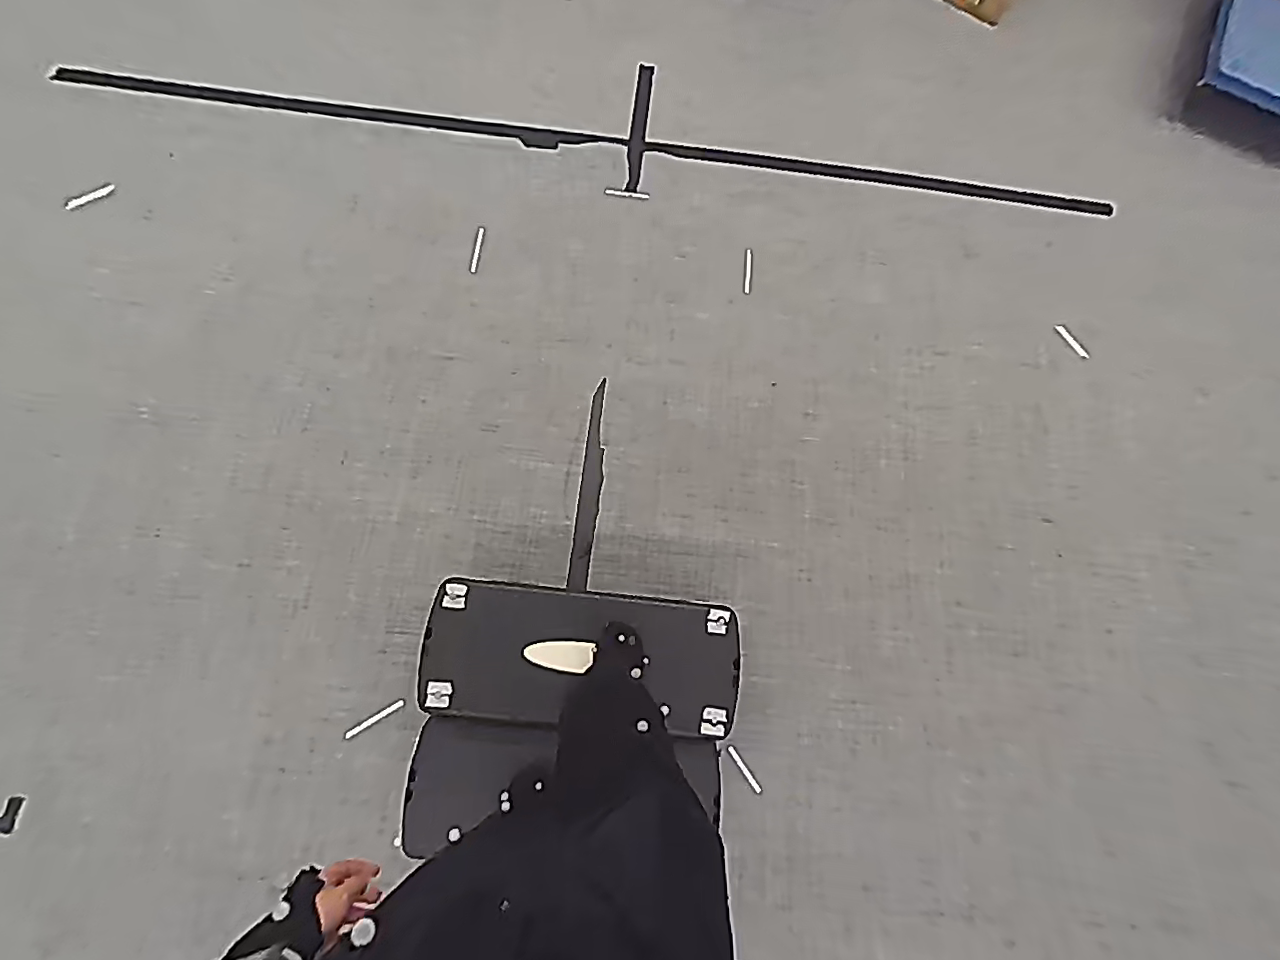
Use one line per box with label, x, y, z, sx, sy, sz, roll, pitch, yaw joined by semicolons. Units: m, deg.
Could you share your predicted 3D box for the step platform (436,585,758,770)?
step platform;-0.086;0.431;1.206;0.684;0.204;0.286;11;73;-2
